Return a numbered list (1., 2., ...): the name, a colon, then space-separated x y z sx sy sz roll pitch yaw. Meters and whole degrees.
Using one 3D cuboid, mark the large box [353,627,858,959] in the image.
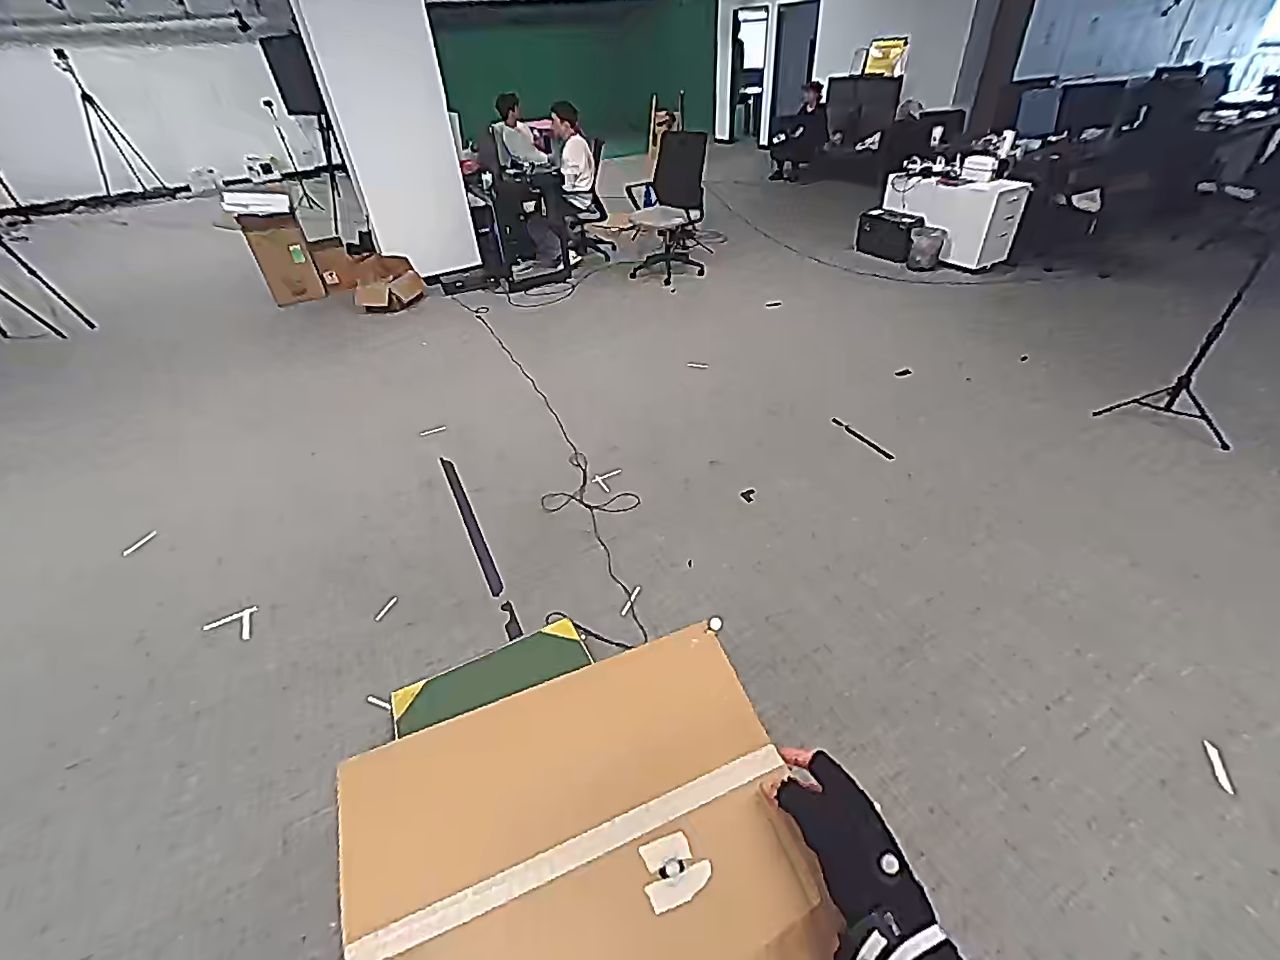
1. large box: -0.051 0.436 0.614 0.408 0.320 0.320 -17 52 -16
